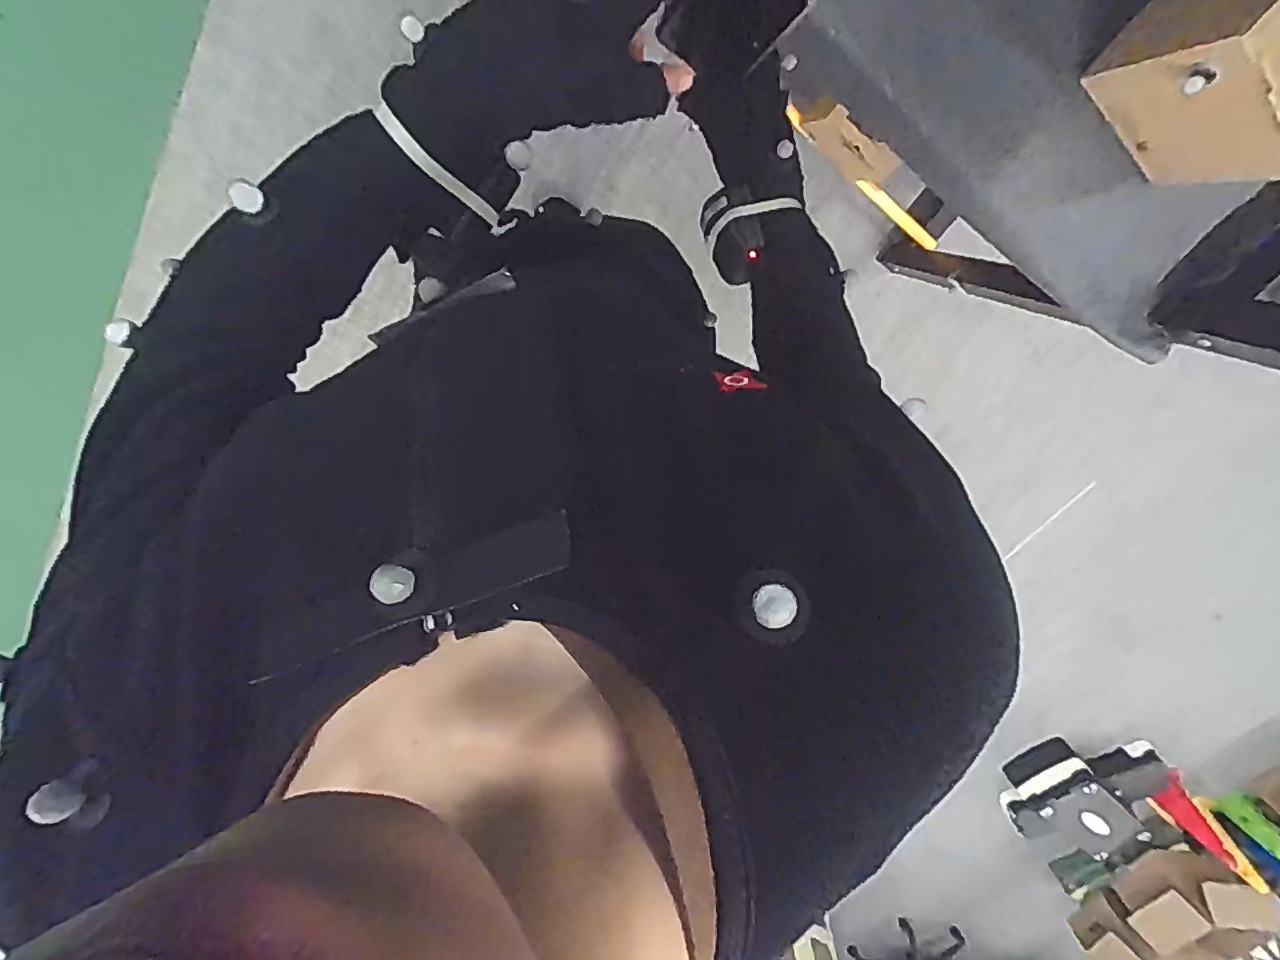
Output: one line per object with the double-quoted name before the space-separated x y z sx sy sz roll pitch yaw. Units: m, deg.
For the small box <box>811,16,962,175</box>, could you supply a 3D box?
"small box" 0.450 -0.709 1.025 0.168 0.176 0.179 34 111 -20
